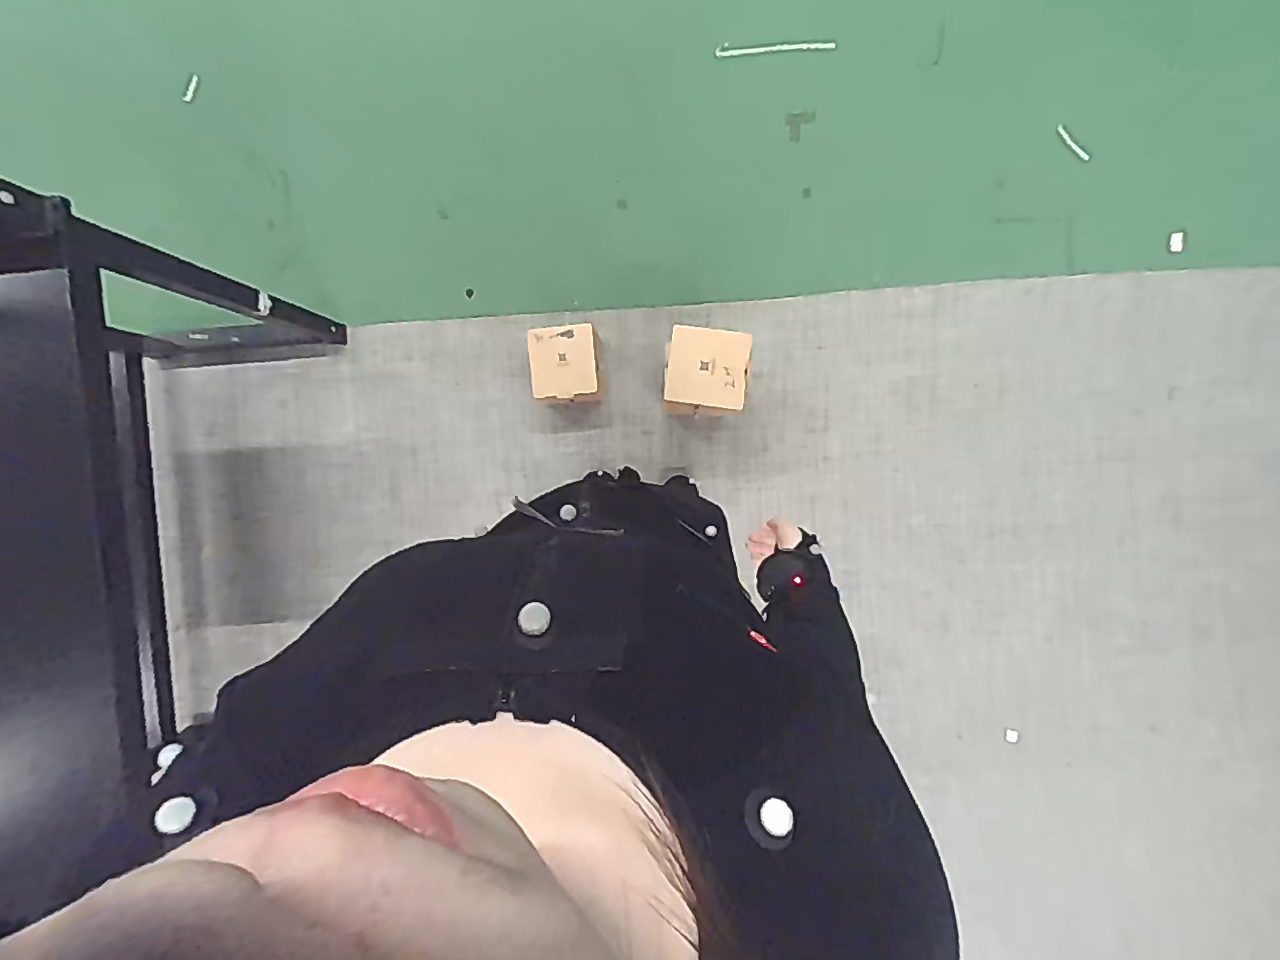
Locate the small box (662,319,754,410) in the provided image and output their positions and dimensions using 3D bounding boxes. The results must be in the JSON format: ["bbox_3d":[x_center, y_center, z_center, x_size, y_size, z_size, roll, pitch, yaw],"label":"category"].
[{"bbox_3d":[0.148,-0.254,1.224,0.179,0.176,0.168,8,94,2],"label":"small box"}]

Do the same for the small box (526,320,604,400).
[{"bbox_3d":[-0.189,-0.303,1.402,0.168,0.176,0.179,-5,93,3],"label":"small box"}]
